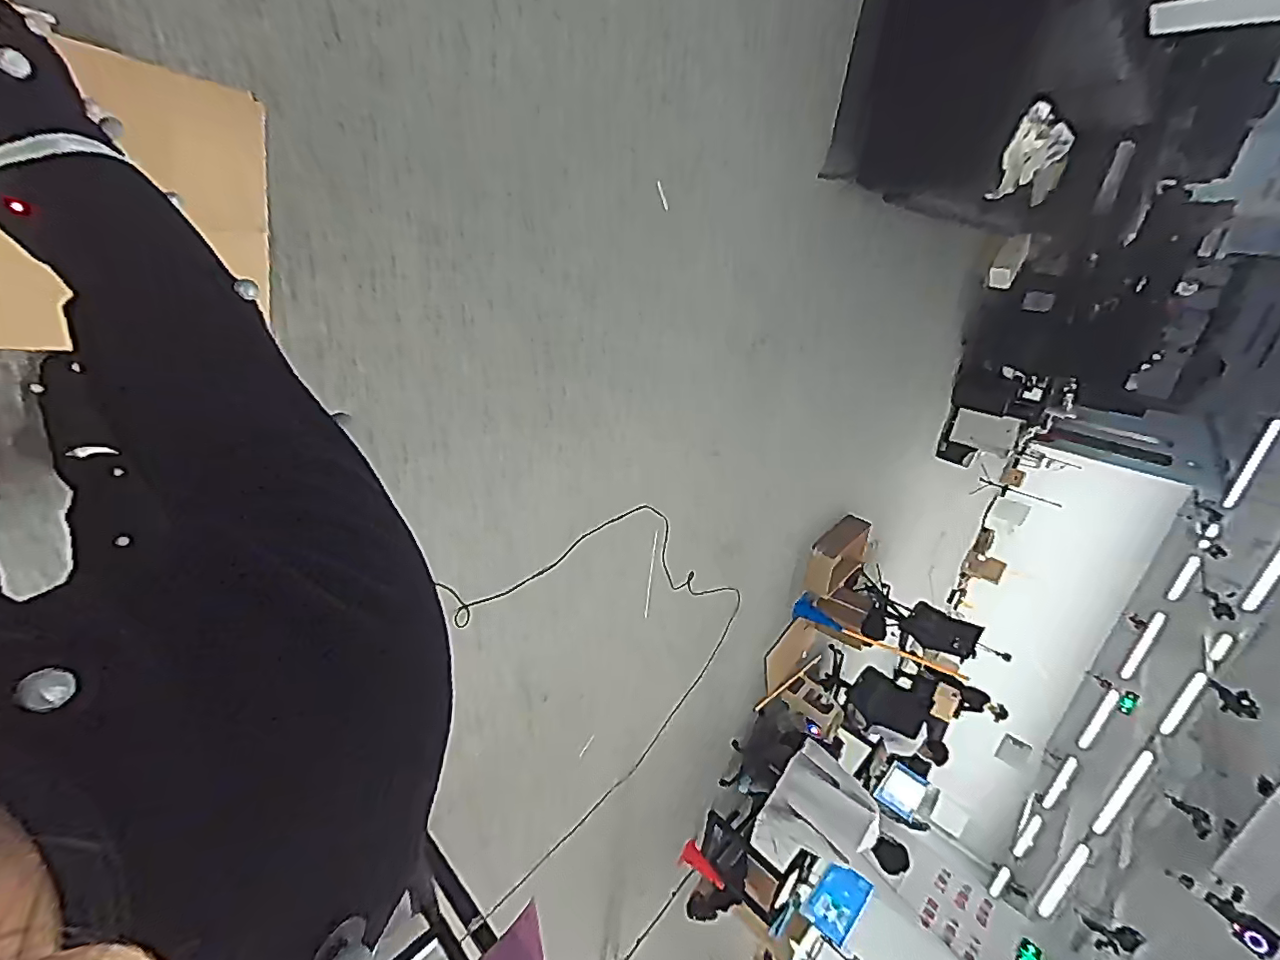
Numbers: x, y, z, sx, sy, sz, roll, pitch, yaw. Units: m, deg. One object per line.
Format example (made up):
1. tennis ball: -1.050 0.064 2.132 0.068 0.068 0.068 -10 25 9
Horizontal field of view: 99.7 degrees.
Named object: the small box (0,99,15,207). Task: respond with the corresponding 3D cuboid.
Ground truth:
1. small box: -0.612 -0.312 0.399 0.179 0.176 0.168 -9 121 -44
